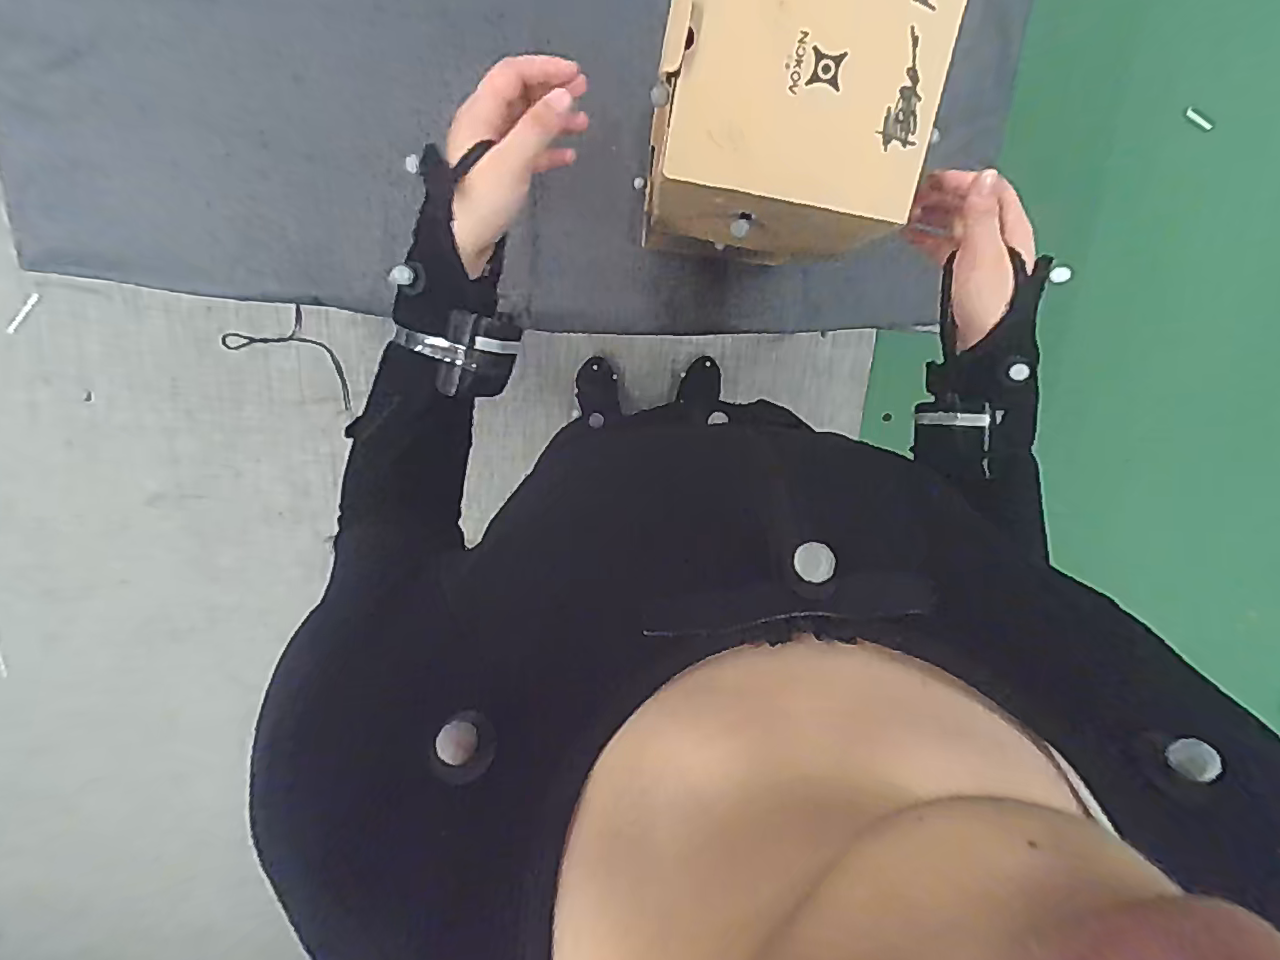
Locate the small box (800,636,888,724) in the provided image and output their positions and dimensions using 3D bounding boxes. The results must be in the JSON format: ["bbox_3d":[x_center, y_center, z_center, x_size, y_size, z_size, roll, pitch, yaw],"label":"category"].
[{"bbox_3d":[0.550,0.548,1.482,0.168,0.176,0.179,5,105,0],"label":"small box"}]

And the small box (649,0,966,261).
[{"bbox_3d":[0.107,-0.279,0.417,0.179,0.176,0.168,10,103,-2],"label":"small box"}]

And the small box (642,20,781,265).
[{"bbox_3d":[0.097,-0.334,0.572,0.179,0.176,0.168,7,104,-2],"label":"small box"}]
